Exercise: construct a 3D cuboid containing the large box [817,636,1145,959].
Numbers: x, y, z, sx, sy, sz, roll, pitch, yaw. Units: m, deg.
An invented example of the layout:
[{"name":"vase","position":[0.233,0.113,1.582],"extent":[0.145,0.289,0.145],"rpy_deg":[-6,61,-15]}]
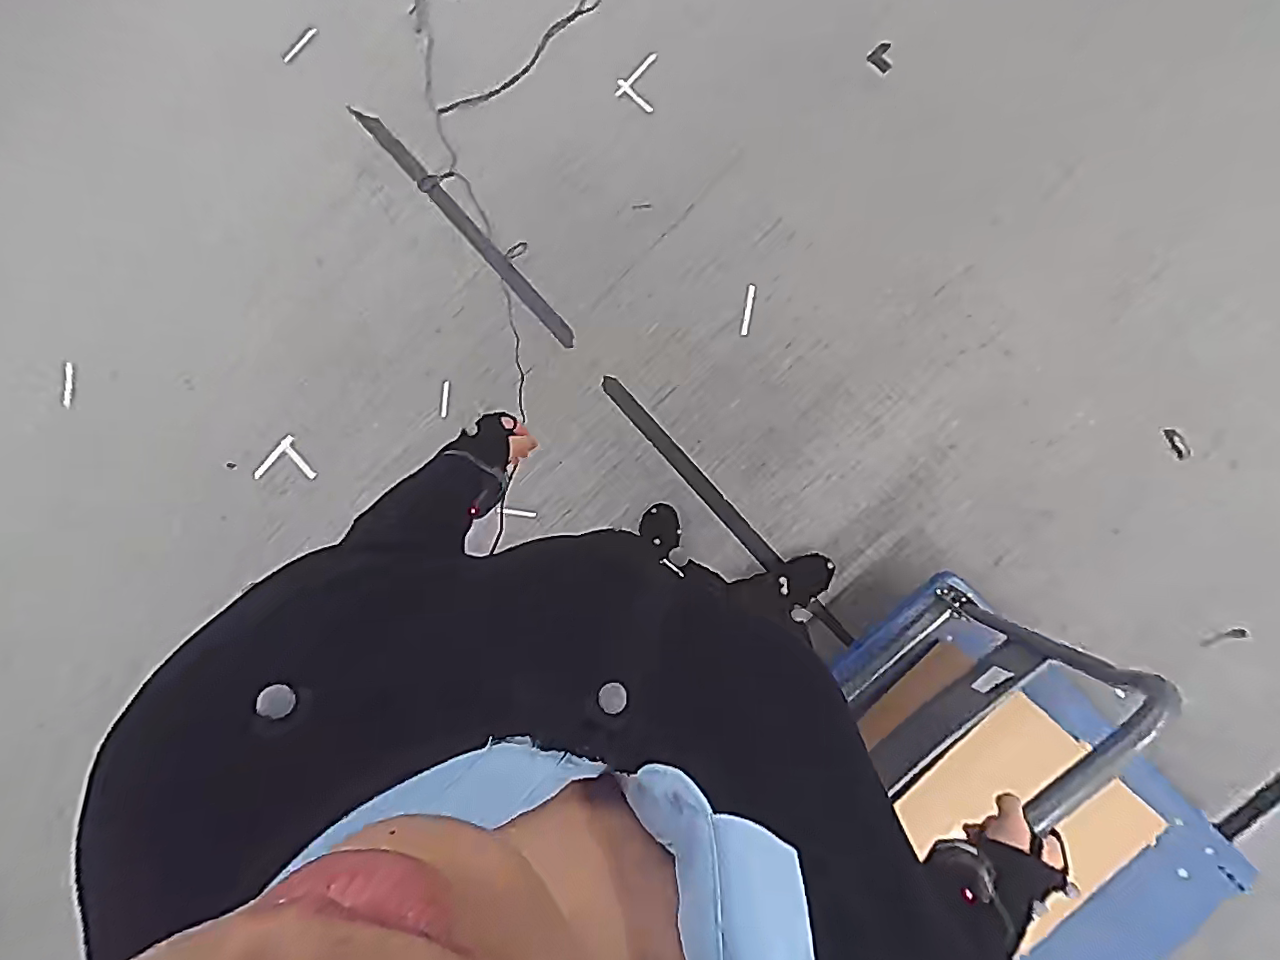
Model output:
[{"name":"large box","position":[0.629,0.596,1.082],"extent":[0.320,0.320,0.408],"rpy_deg":[43,96,7]}]
